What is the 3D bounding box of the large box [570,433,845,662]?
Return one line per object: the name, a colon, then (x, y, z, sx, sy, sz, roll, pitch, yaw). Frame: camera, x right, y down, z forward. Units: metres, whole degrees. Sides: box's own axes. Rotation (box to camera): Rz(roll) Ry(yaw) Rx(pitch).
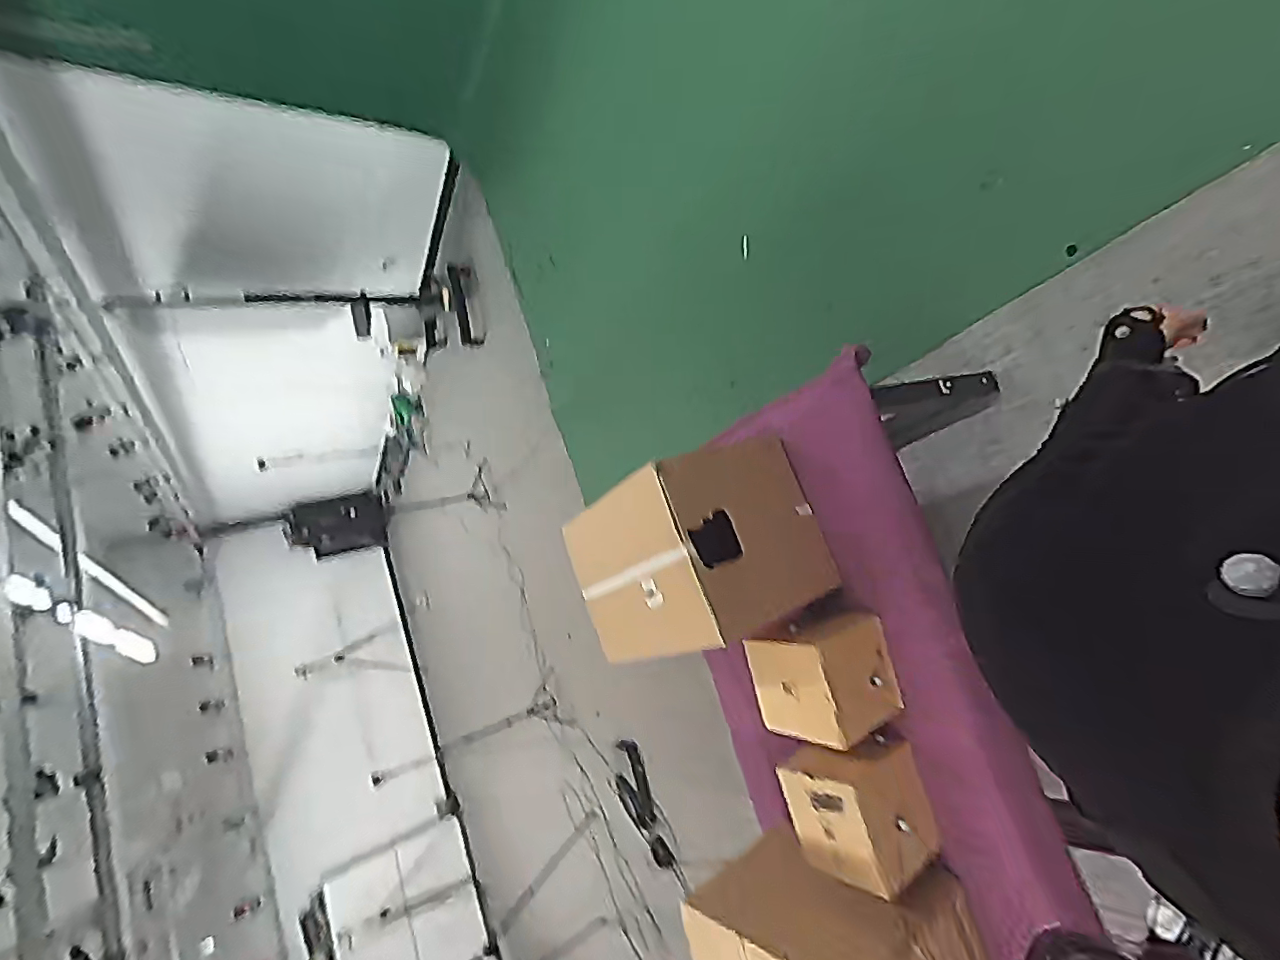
large box: (0.112, 0.141, 1.087, 0.408, 0.320, 0.320, -37, 72, 52)
